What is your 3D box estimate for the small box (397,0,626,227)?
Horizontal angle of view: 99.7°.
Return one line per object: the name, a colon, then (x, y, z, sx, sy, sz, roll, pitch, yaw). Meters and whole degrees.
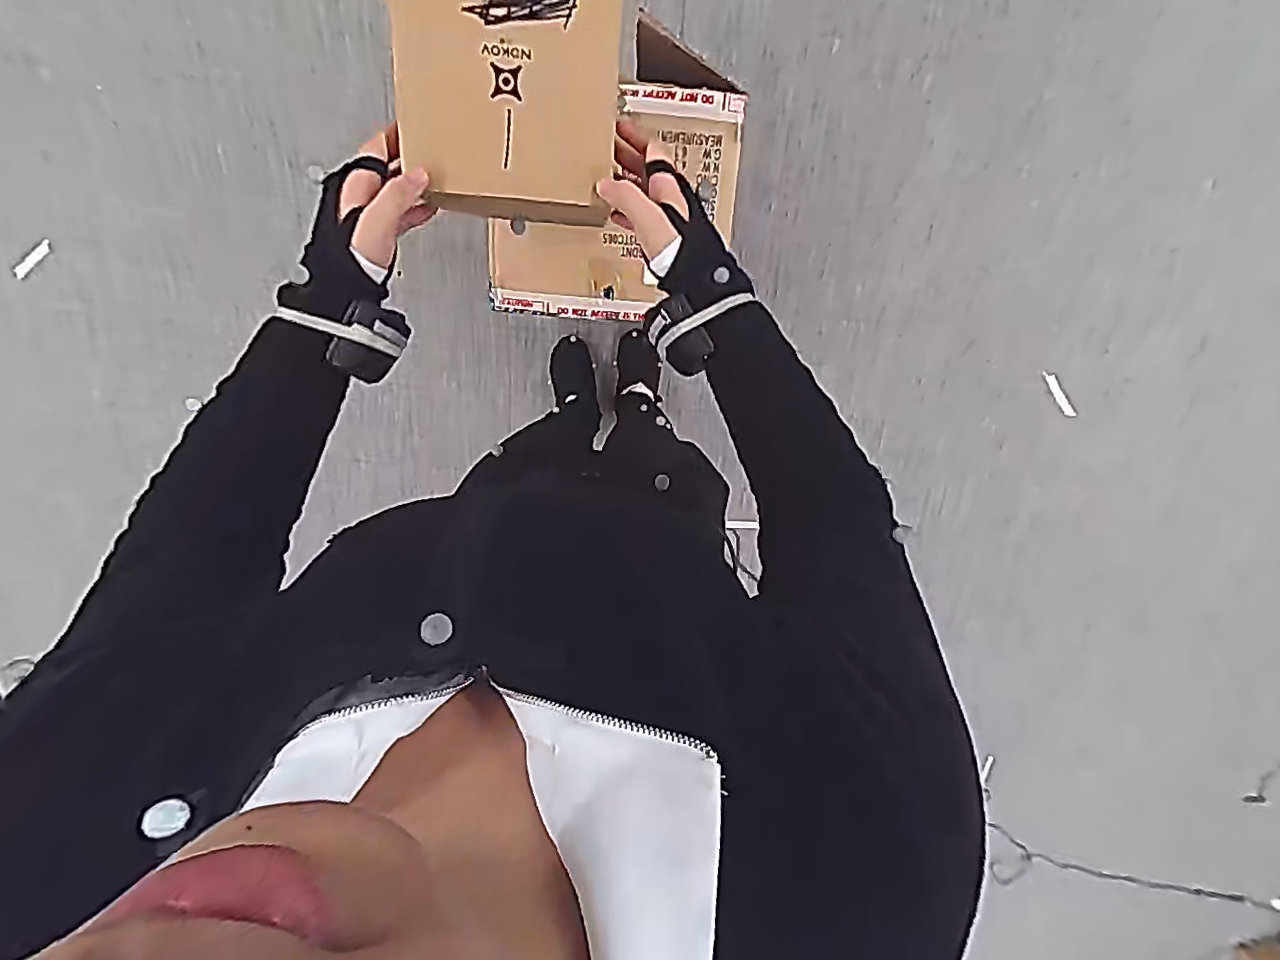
small box: (-0.105, -0.337, 0.481, 0.168, 0.176, 0.179, 2, 110, -7)
